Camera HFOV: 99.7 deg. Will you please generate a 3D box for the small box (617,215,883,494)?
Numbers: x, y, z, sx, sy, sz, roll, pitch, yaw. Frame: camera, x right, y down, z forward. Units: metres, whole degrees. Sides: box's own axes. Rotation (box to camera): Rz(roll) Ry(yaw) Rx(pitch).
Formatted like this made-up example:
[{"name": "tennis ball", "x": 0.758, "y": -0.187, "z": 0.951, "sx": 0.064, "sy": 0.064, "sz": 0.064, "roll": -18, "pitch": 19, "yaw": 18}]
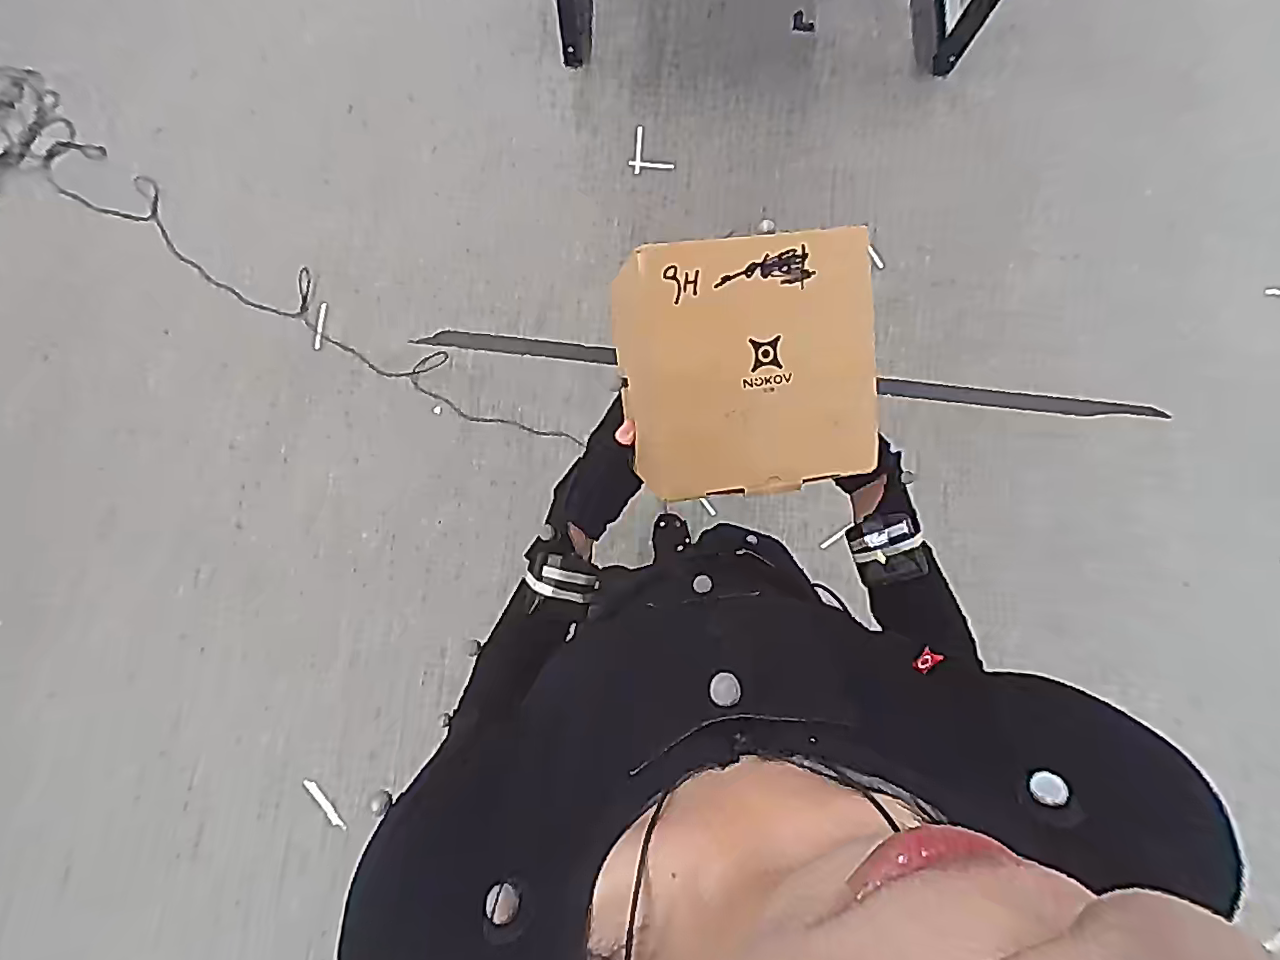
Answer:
[{"name": "small box", "x": 0.077, "y": -0.099, "z": 0.449, "sx": 0.168, "sy": 0.176, "sz": 0.179, "roll": -8, "pitch": 101, "yaw": -8}]
